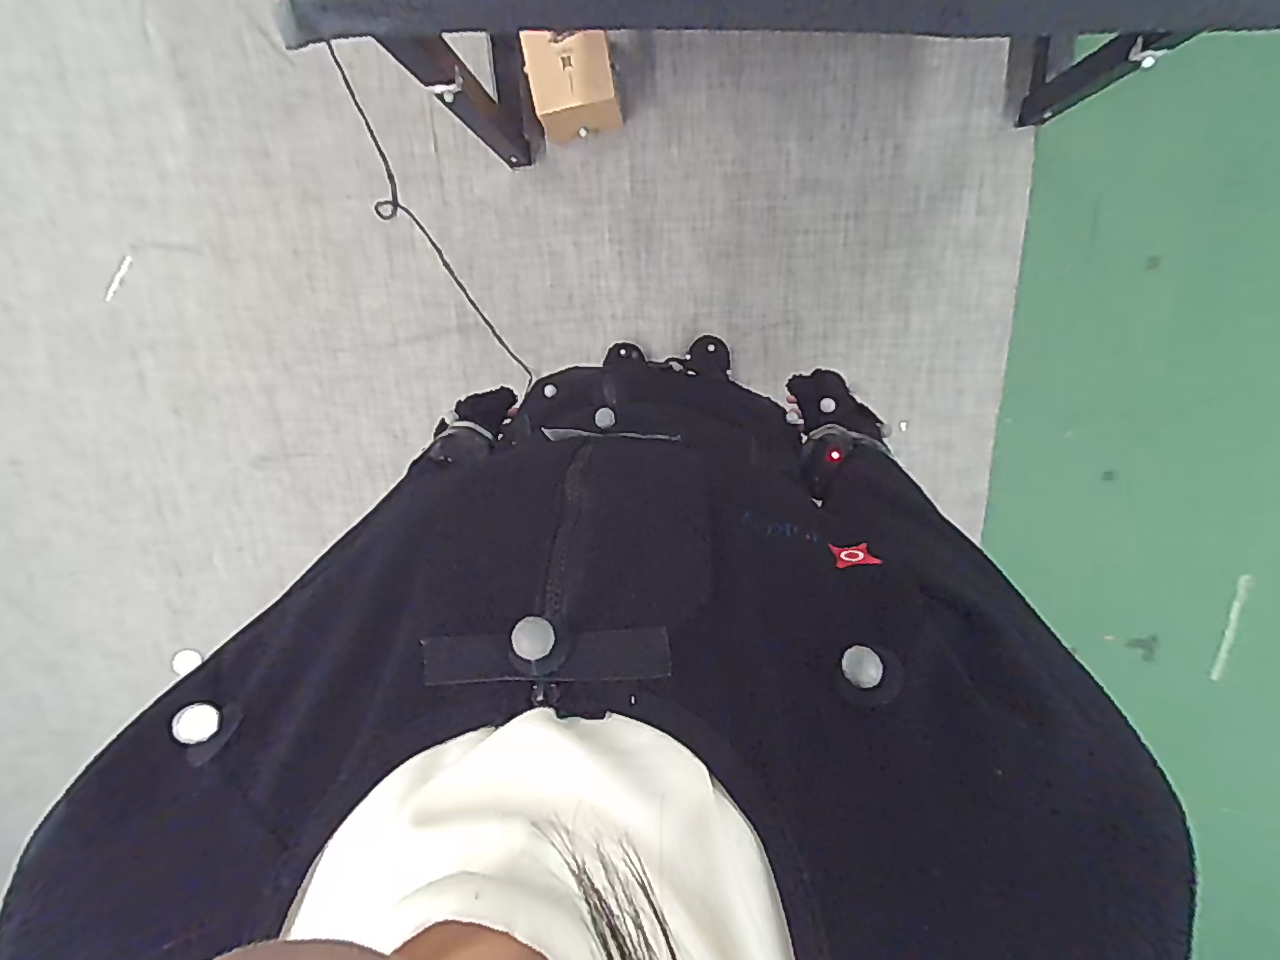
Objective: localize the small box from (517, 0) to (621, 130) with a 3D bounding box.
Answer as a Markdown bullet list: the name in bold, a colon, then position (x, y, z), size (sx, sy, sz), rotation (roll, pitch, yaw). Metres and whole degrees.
- **small box**: position (-0.139, -0.867, 1.124), size (0.168, 0.176, 0.179), rotation (-9, 106, 6)
